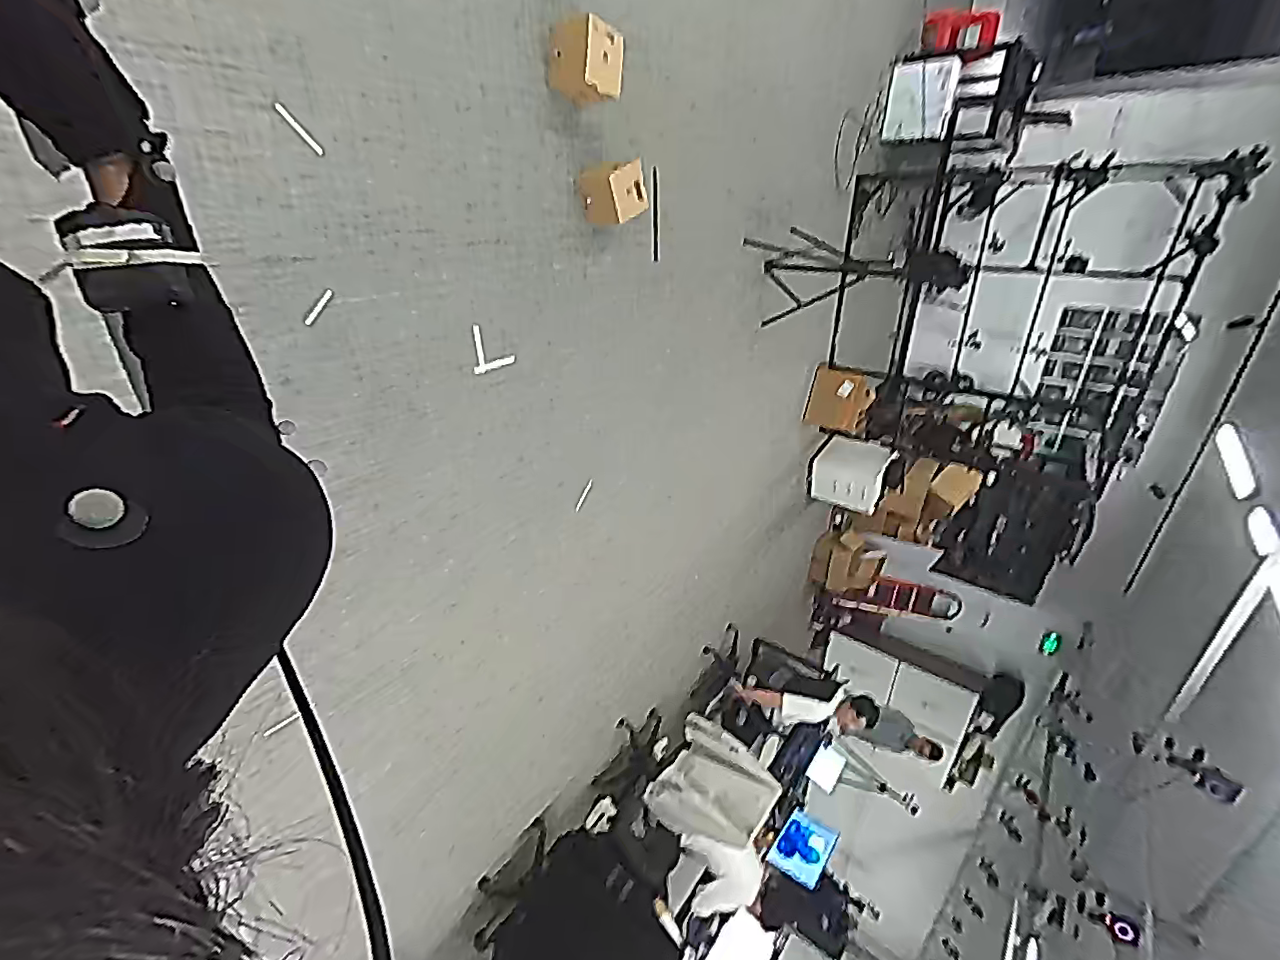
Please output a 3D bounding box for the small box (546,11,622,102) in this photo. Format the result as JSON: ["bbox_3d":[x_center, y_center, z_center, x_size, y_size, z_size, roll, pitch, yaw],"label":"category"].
[{"bbox_3d":[-0.183,-1.337,1.725,0.168,0.176,0.179,-15,118,-52],"label":"small box"}]

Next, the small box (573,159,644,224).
[{"bbox_3d":[-0.113,-1.050,1.966,0.179,0.176,0.168,-47,140,-30],"label":"small box"}]
